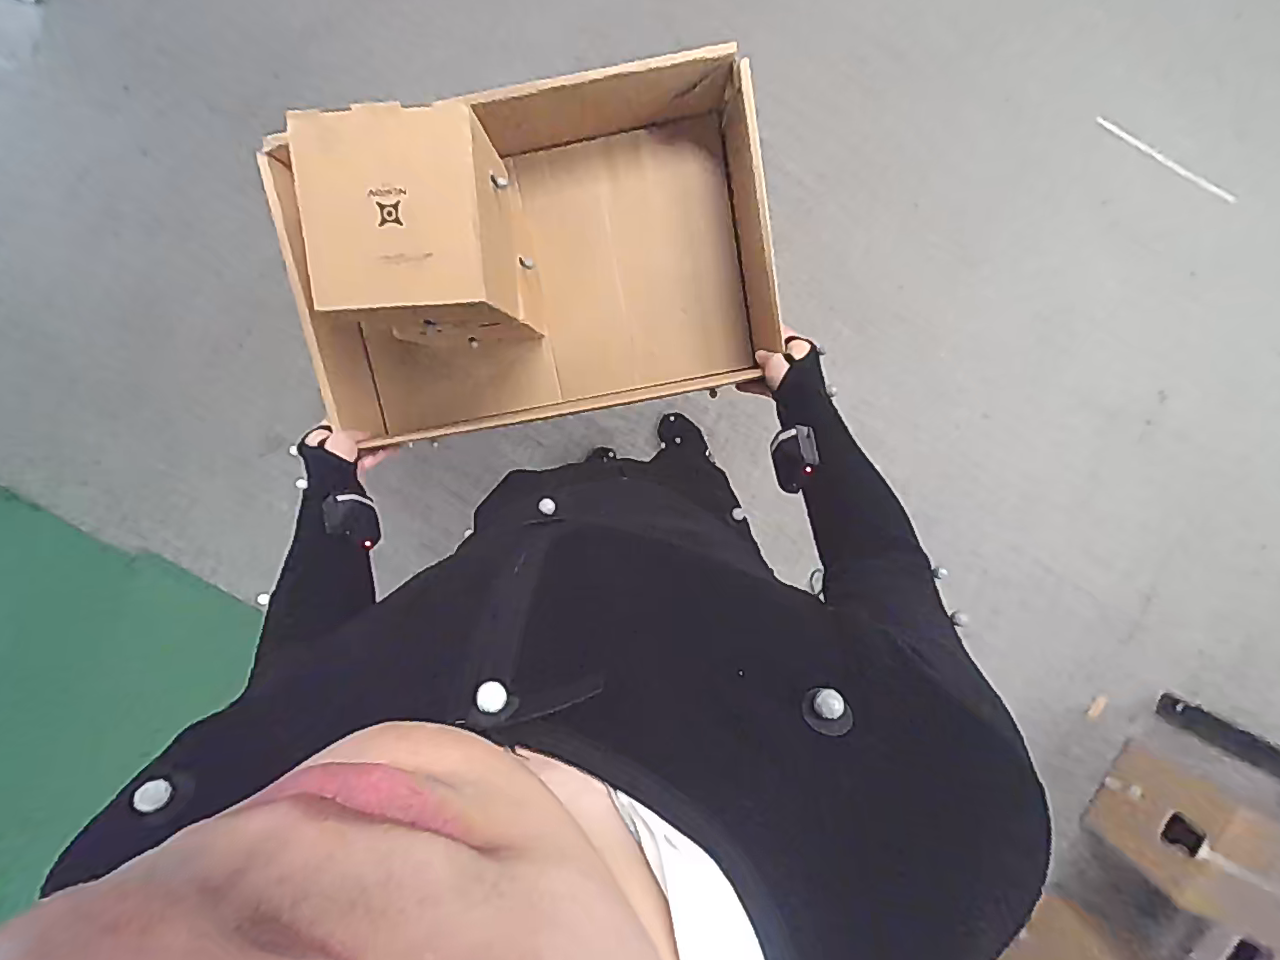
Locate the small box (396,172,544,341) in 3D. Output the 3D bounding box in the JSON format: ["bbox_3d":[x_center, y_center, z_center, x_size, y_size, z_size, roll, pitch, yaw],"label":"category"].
[{"bbox_3d":[-0.230,-0.291,0.735,0.168,0.176,0.179,-6,101,-1],"label":"small box"}]

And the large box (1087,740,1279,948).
[{"bbox_3d":[1.645,1.034,1.558,0.408,0.320,0.320,27,94,-3],"label":"large box"}]

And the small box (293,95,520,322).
[{"bbox_3d":[-0.227,-0.269,0.573,0.168,0.176,0.179,-2,100,0],"label":"small box"}]
